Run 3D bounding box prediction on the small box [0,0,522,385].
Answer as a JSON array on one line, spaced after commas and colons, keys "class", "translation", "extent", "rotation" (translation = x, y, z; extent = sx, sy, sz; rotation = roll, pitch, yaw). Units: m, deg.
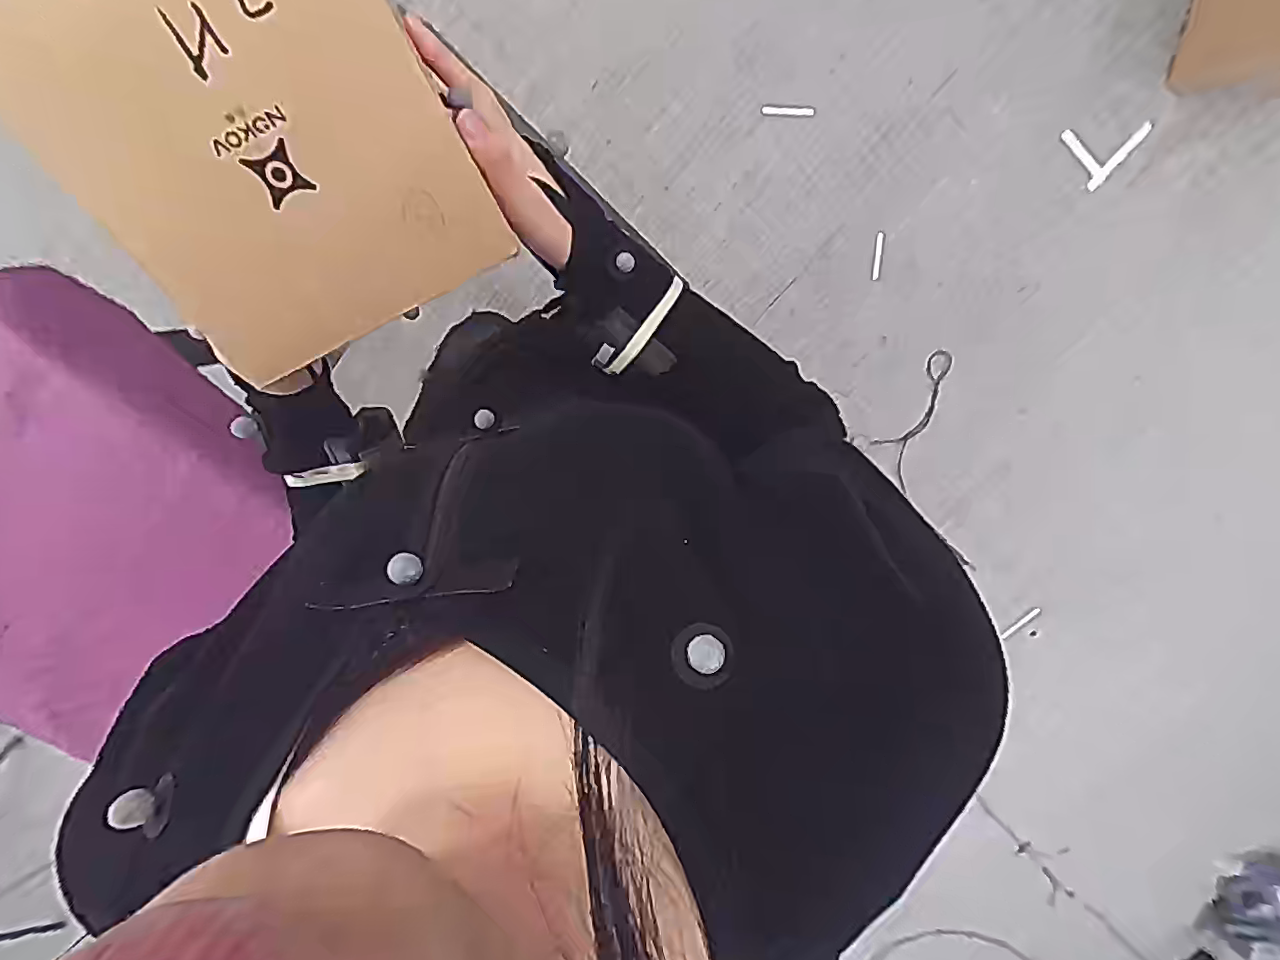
[{"class": "small box", "translation": [-0.186, -0.190, 0.323], "extent": [0.168, 0.176, 0.179], "rotation": [-27, 122, 0]}]
